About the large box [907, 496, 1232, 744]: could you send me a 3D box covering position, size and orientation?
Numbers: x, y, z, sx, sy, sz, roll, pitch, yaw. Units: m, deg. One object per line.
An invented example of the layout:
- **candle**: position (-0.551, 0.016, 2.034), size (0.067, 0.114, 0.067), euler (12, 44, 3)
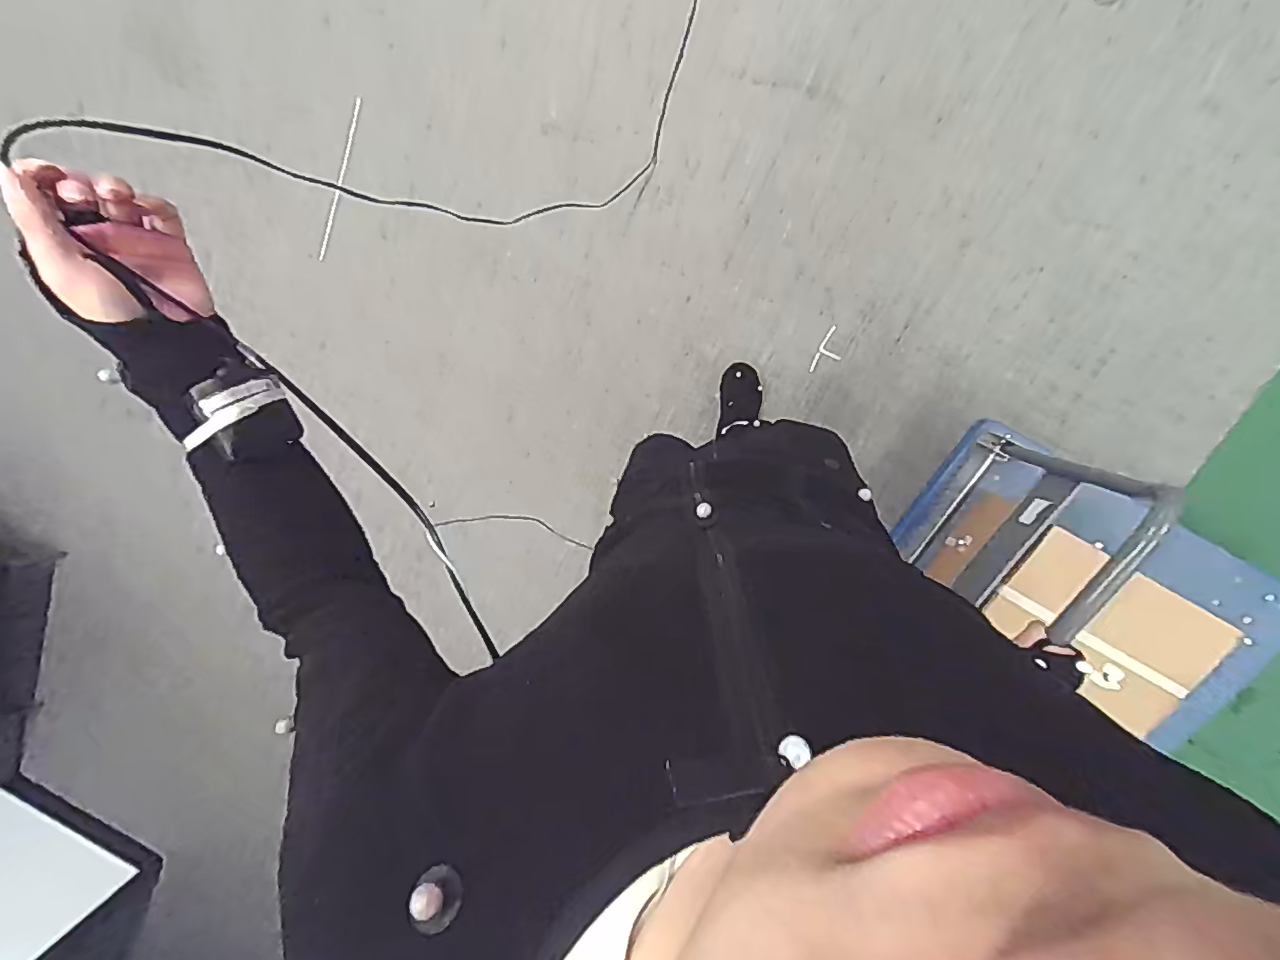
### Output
- **large box**: position (0.905, 0.285, 1.214), size (0.408, 0.320, 0.320), euler (31, 106, 3)
